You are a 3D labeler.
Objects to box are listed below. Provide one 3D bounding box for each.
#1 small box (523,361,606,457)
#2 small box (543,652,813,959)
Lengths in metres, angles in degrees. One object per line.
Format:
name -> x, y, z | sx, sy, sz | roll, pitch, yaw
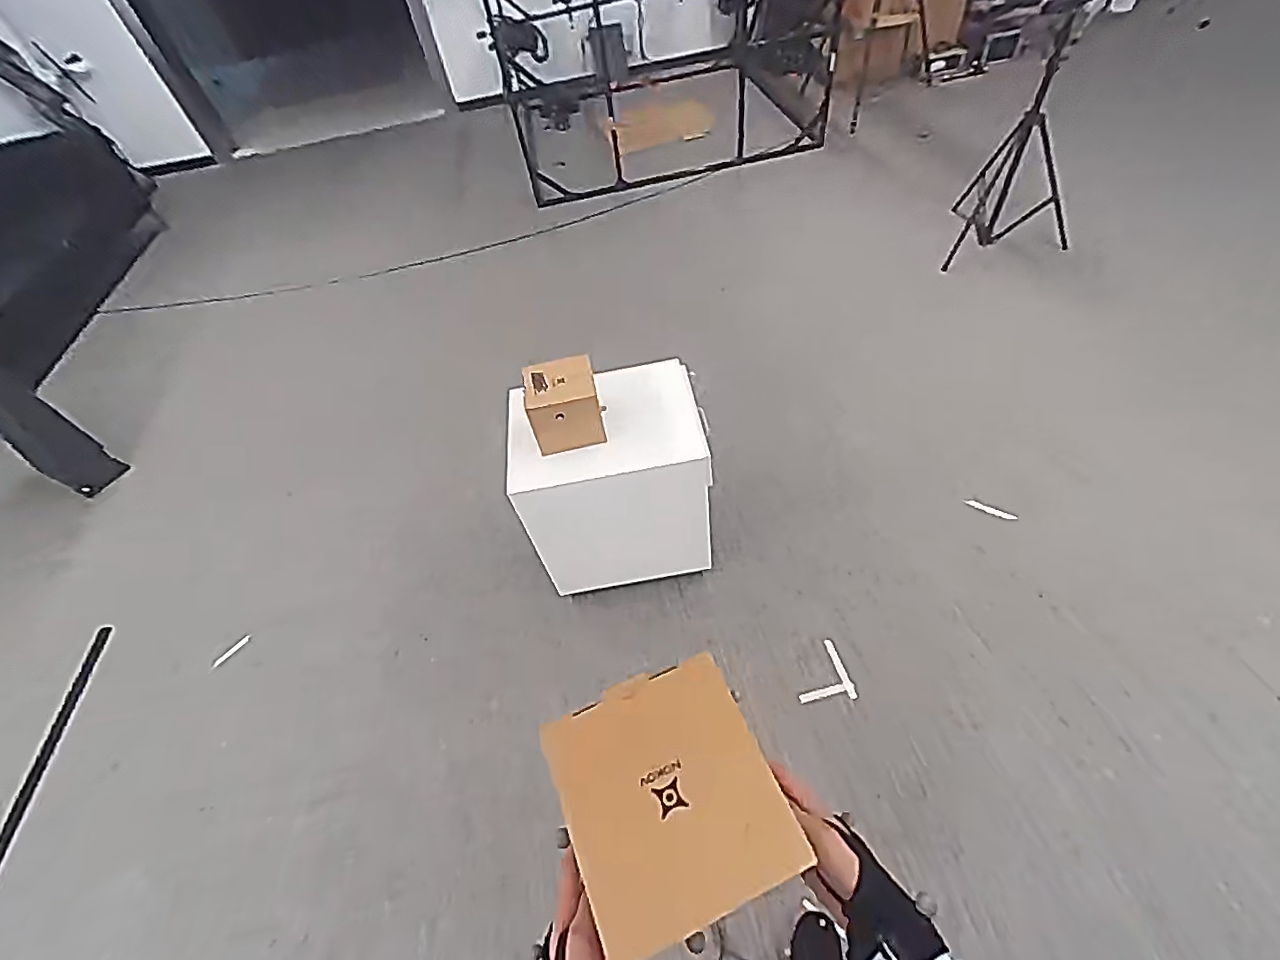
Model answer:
small box -> -0.195, -0.179, 1.403 | 0.179, 0.176, 0.168 | -12, 51, -2
small box -> 0.029, 0.295, 0.497 | 0.168, 0.176, 0.179 | -22, 53, -12
